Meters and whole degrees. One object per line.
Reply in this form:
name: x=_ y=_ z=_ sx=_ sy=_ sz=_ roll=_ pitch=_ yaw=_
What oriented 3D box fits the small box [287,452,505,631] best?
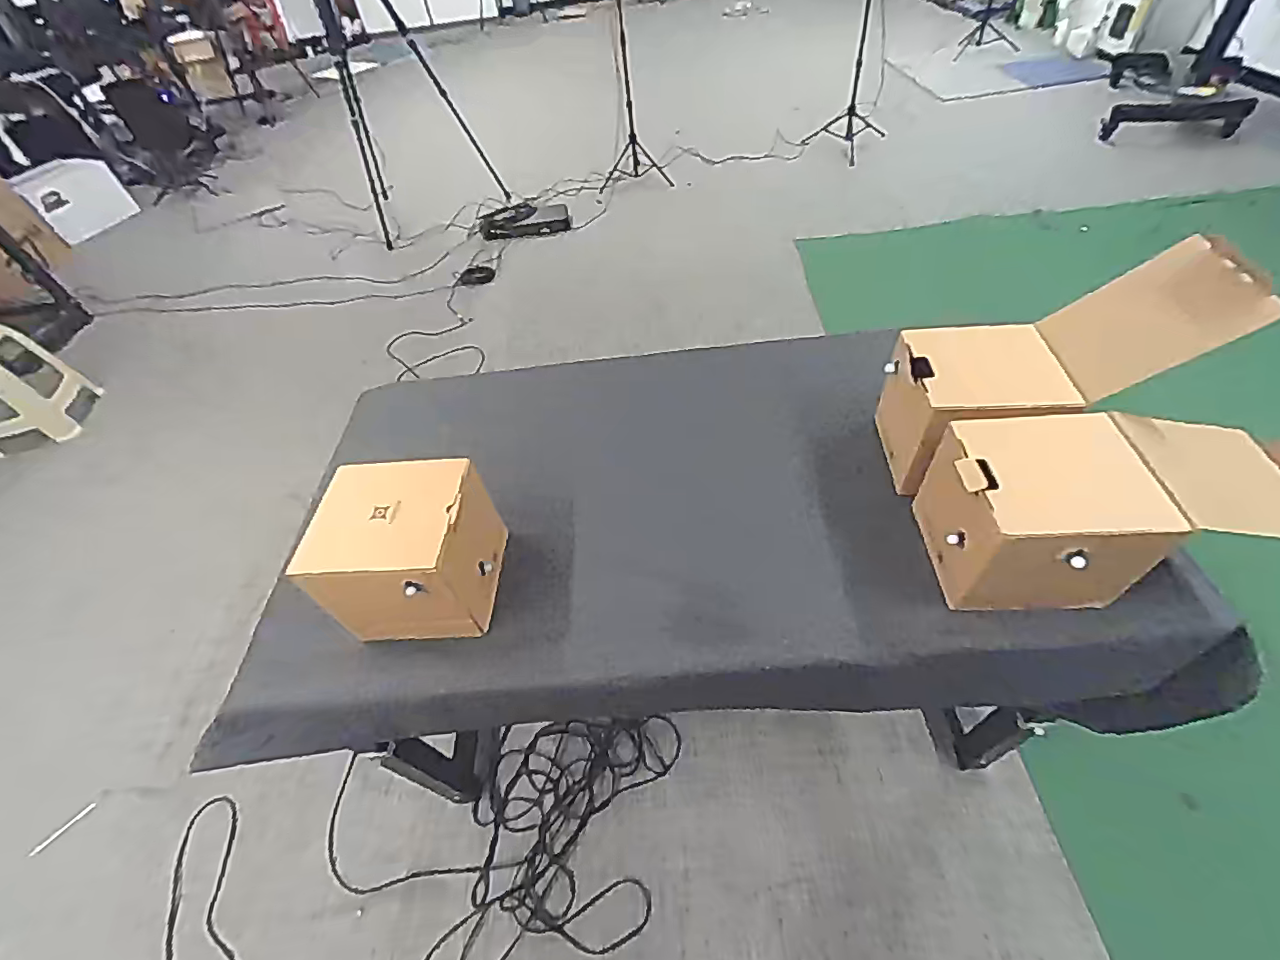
small box: x=-0.294 y=0.084 z=0.697 sx=0.179 sy=0.176 sz=0.168 roll=-3 pitch=49 yaw=4
